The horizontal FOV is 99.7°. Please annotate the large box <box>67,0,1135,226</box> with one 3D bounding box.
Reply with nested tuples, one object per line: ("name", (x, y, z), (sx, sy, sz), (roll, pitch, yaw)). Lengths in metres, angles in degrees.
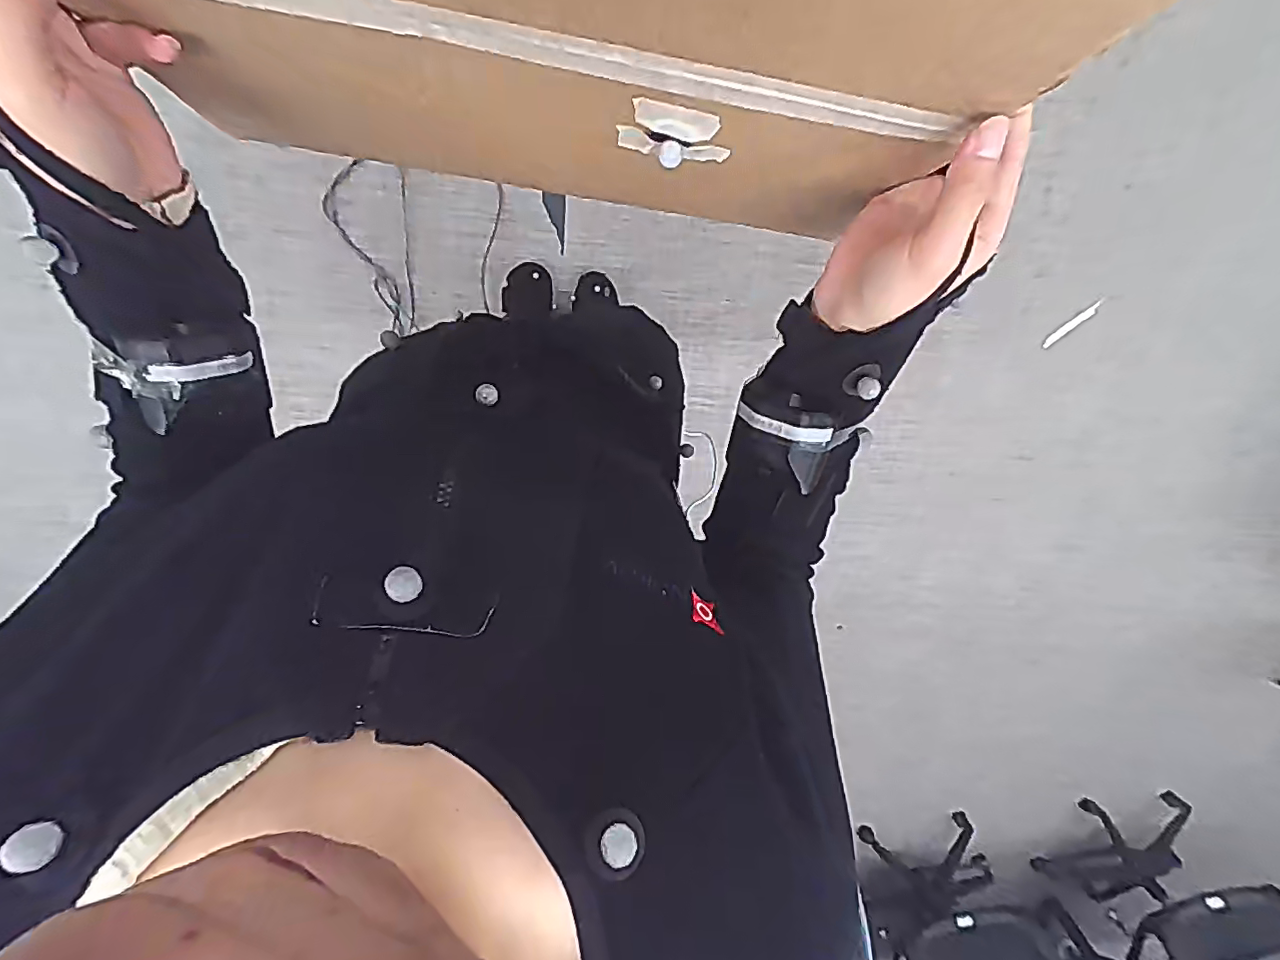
("large box", (-0.029, -0.333, 0.205), (0.408, 0.320, 0.320), (5, 97, -7))
